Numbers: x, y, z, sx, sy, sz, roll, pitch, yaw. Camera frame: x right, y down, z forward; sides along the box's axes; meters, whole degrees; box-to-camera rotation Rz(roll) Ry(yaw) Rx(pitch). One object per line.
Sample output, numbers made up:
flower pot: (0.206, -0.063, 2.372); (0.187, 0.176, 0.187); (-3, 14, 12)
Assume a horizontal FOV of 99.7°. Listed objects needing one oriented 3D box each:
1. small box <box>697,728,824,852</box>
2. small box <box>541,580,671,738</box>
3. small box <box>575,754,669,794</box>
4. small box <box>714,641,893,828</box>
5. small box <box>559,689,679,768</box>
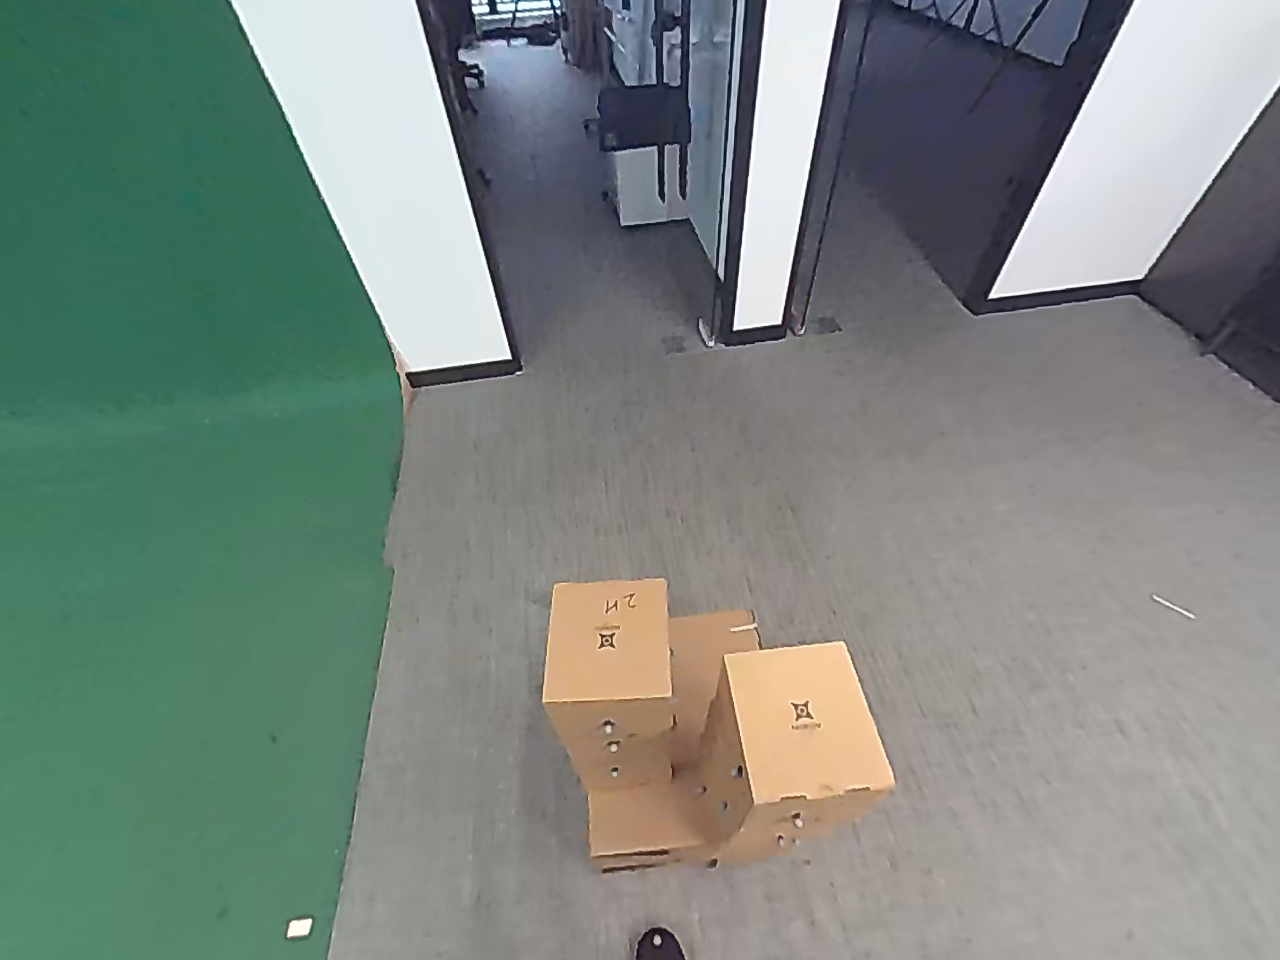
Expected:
small box: (0.204, 0.549, 0.972); (0.179, 0.176, 0.168); (-8, 48, -3)
small box: (-0.041, 0.267, 0.793); (0.168, 0.176, 0.179); (-2, 48, 1)
small box: (-0.036, 0.481, 1.045); (0.168, 0.176, 0.179); (-6, 47, -2)
small box: (0.199, 0.339, 0.720); (0.168, 0.176, 0.179); (-6, 49, -3)
small box: (-0.035, 0.371, 0.918); (0.179, 0.176, 0.168); (-9, 48, -1)
